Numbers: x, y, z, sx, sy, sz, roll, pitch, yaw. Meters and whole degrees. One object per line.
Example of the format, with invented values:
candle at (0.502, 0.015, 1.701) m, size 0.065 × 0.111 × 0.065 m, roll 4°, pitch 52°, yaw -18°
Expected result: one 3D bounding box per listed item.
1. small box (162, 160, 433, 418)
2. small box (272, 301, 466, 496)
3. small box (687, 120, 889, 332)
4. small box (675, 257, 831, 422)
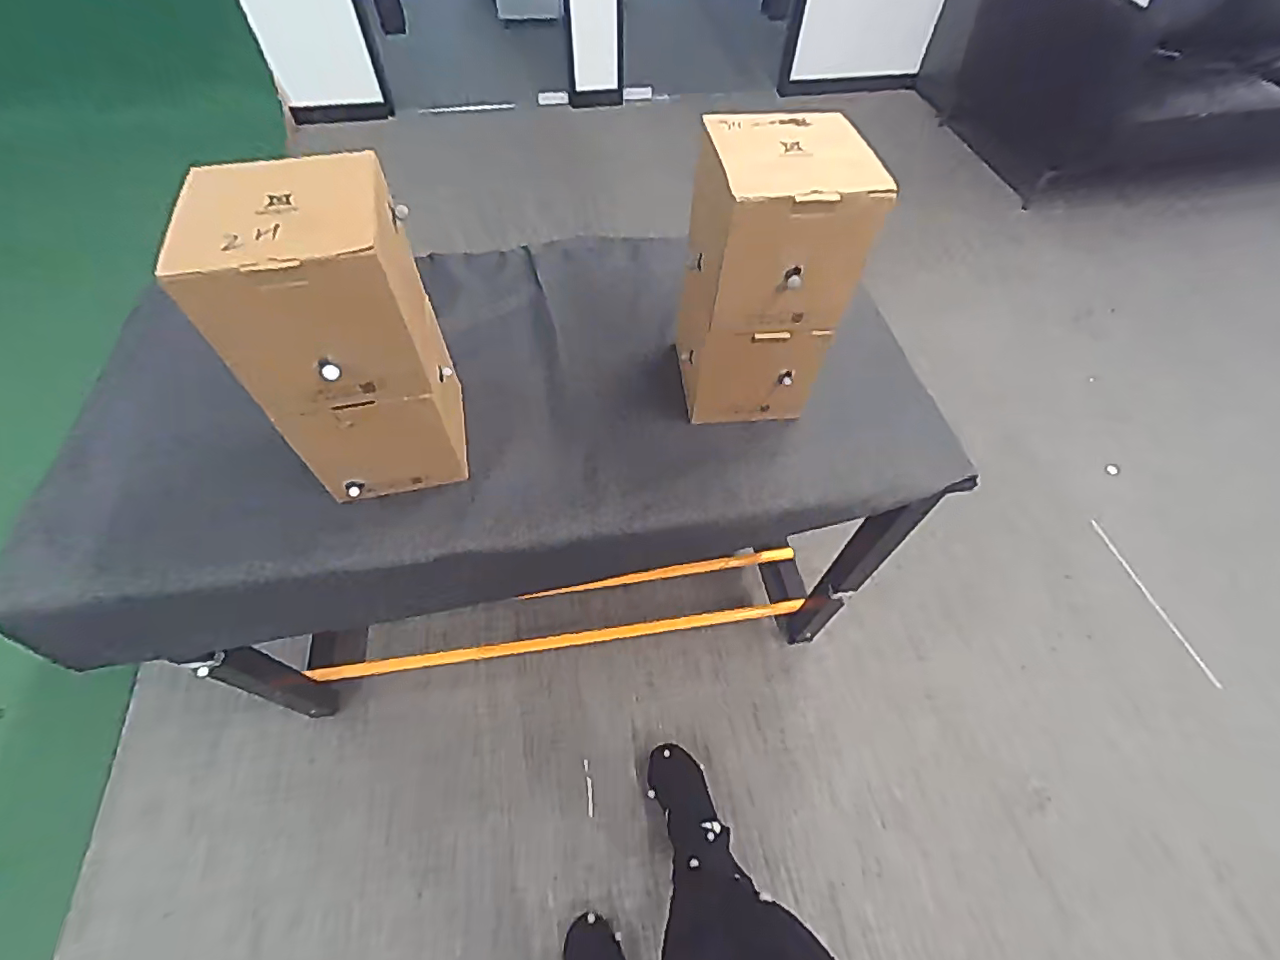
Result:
small box at (-0.320, -0.190, 0.547) m, size 0.168 × 0.176 × 0.179 m, roll -13°, pitch 57°, yaw -10°
small box at (-0.324, -0.095, 0.682) m, size 0.168 × 0.176 × 0.179 m, roll -10°, pitch 56°, yaw -9°
small box at (0.154, -0.288, 0.632) m, size 0.168 × 0.176 × 0.179 m, roll -4°, pitch 56°, yaw -5°
small box at (0.146, -0.195, 0.767) m, size 0.168 × 0.176 × 0.179 m, roll -3°, pitch 55°, yaw -5°
